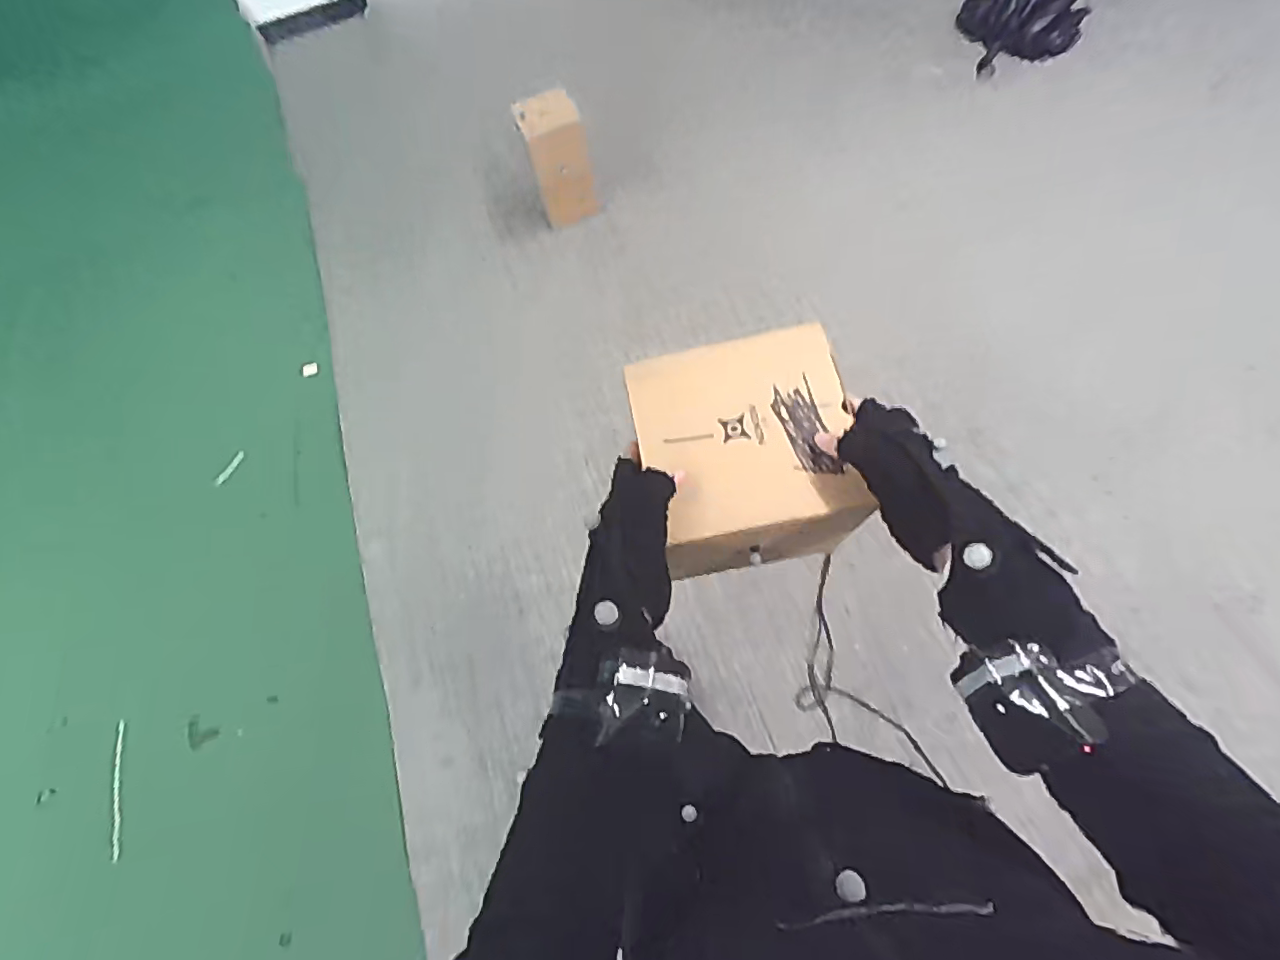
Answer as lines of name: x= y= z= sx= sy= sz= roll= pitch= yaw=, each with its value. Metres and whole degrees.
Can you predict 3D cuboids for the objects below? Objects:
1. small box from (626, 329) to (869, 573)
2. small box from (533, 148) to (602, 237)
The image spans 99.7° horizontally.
small box: x=0.088 y=-0.016 z=0.515 sx=0.179 sy=0.176 sz=0.168 roll=-8 pitch=68 yaw=3
small box: x=-0.234 y=-0.956 z=1.807 sx=0.179 sy=0.176 sz=0.168 roll=-22 pitch=66 yaw=-1
